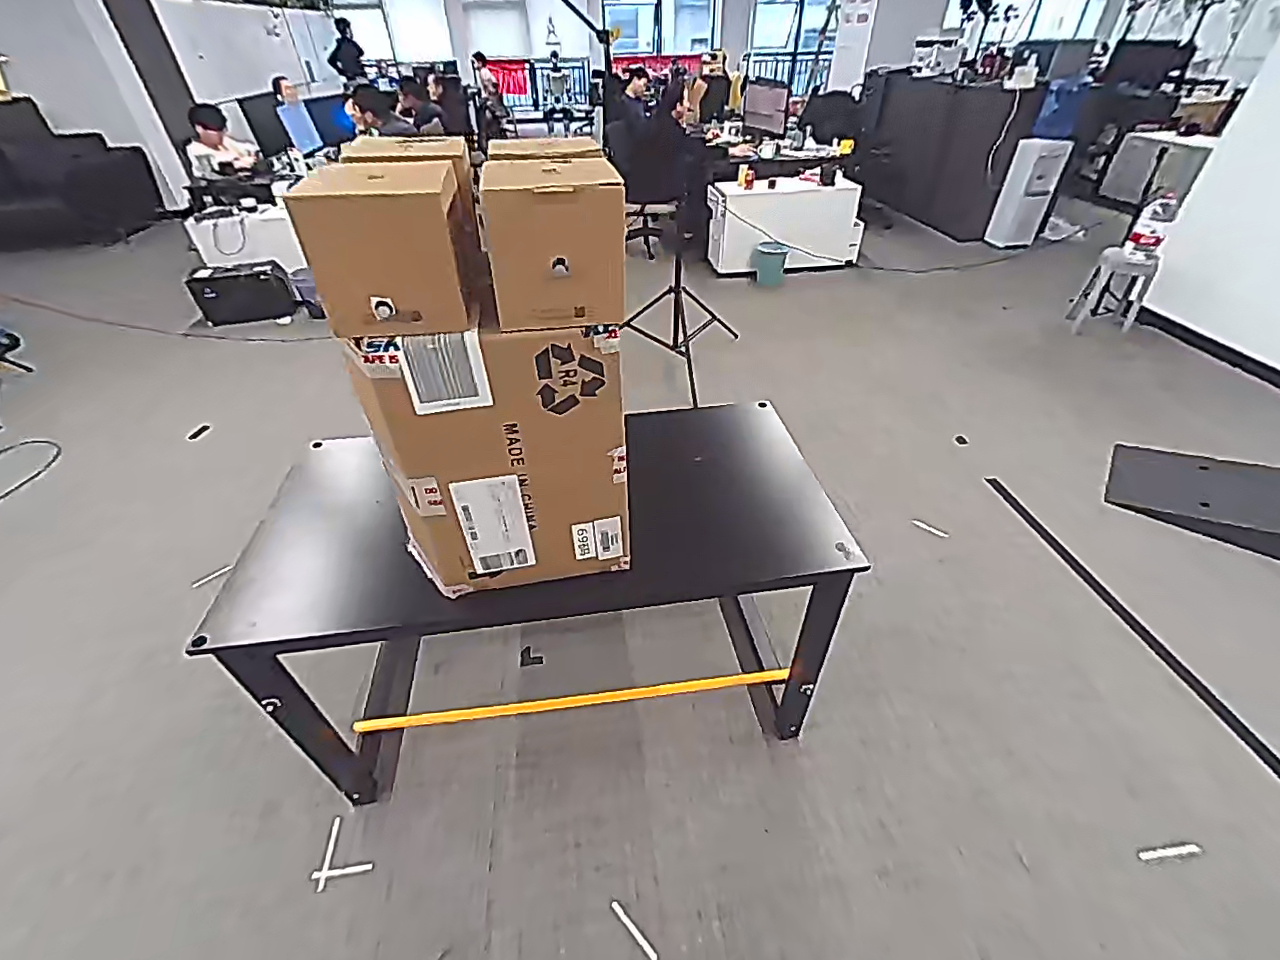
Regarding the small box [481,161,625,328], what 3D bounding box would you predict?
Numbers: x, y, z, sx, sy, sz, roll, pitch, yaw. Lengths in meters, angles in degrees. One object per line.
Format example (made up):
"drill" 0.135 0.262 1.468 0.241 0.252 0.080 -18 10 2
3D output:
"small box" -0.111 -0.311 0.720 0.168 0.176 0.179 -5 41 -9
